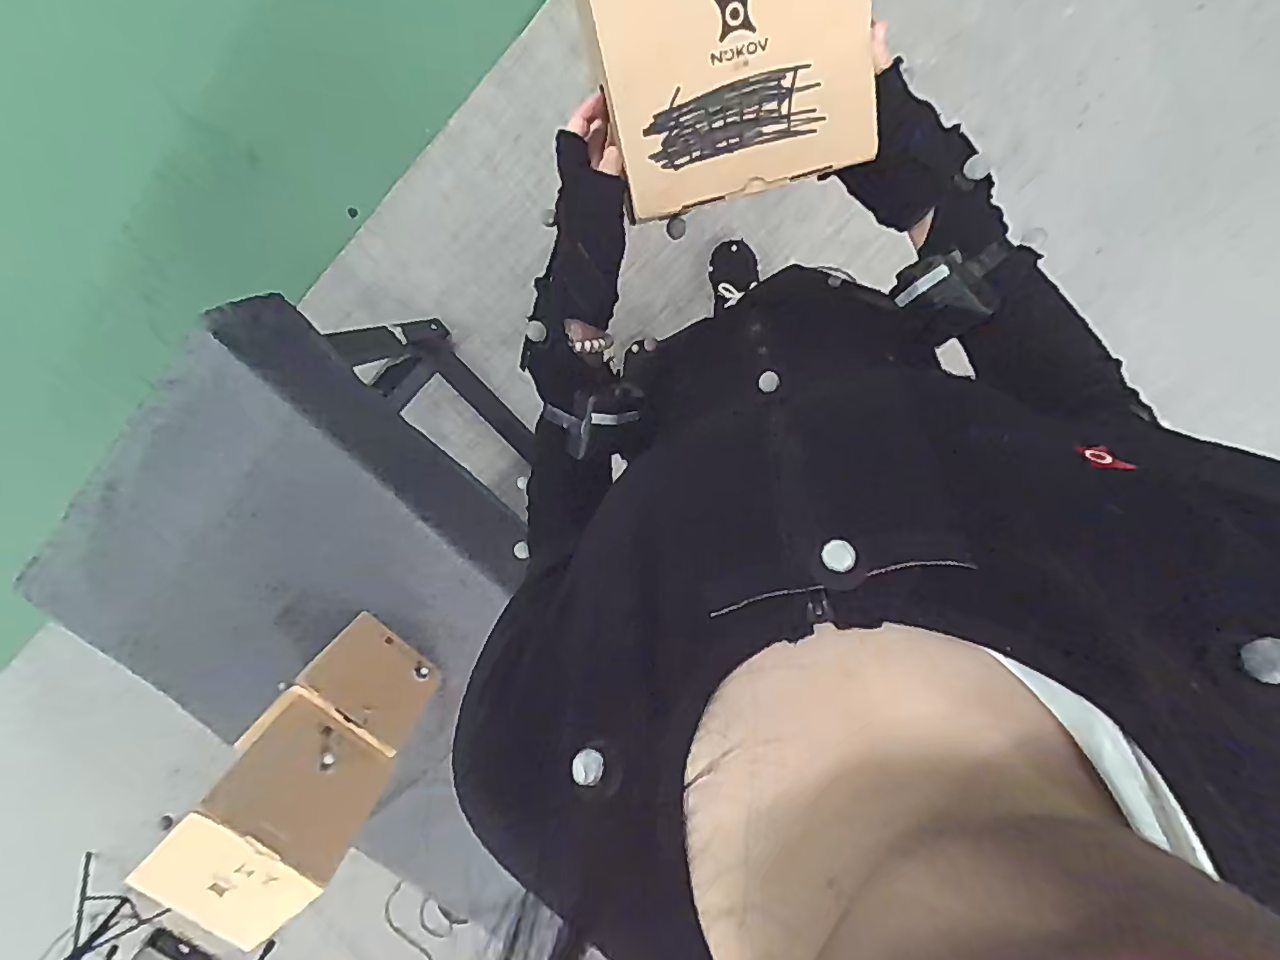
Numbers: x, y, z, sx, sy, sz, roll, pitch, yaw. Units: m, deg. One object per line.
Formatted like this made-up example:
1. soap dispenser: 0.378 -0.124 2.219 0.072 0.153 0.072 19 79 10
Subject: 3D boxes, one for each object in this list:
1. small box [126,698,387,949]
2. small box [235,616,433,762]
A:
1. small box: -0.458 0.417 0.675 0.168 0.176 0.179 44 106 -12
2. small box: -0.445 0.343 0.822 0.179 0.176 0.168 -41 102 17
